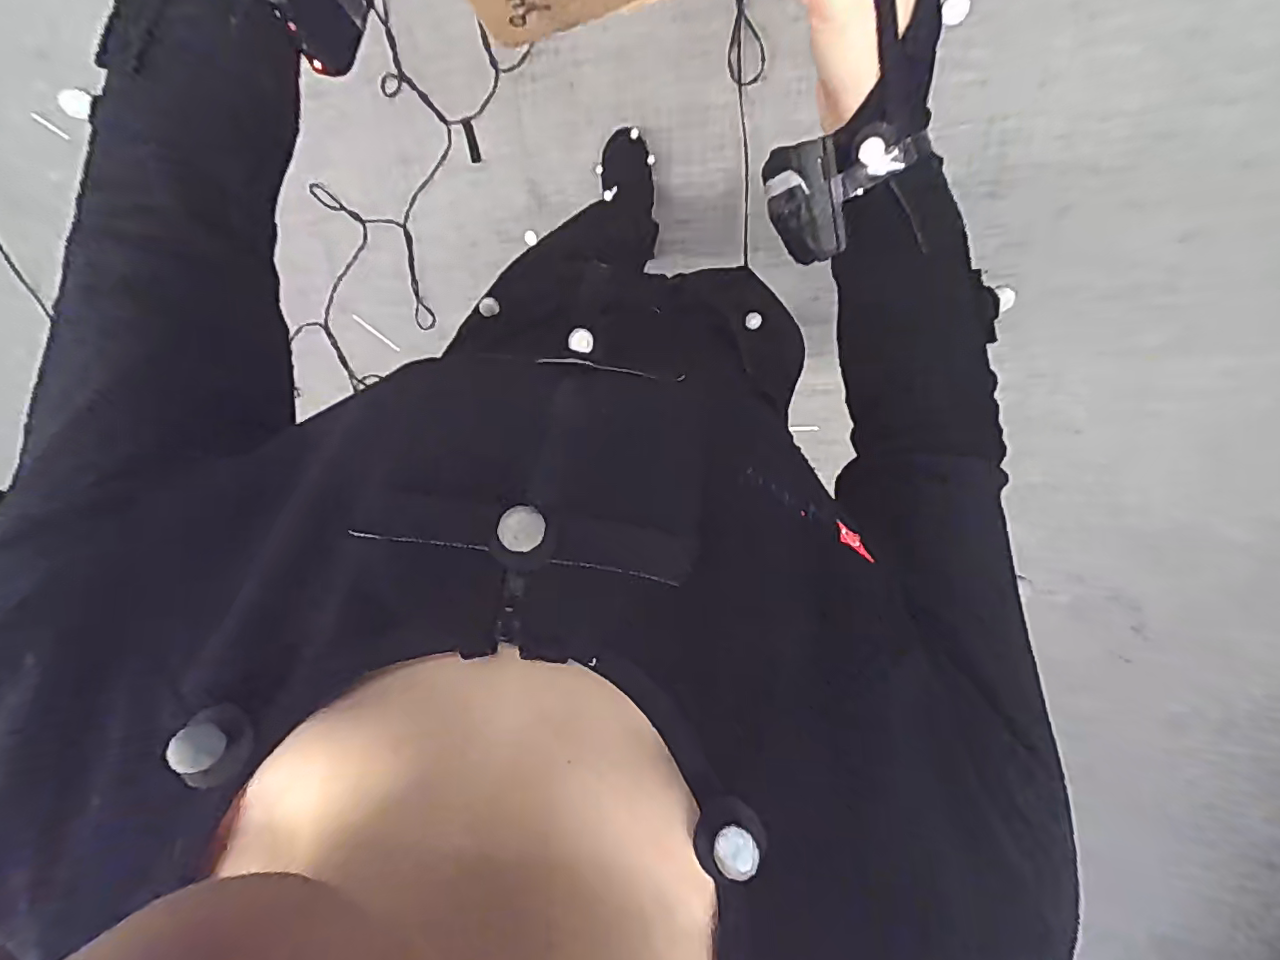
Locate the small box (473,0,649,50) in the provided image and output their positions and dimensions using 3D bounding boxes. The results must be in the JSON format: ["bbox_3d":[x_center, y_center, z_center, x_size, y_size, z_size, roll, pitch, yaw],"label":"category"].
[{"bbox_3d":[-0.029,-0.340,0.221,0.179,0.168,0.176,-13,98,8],"label":"small box"}]
